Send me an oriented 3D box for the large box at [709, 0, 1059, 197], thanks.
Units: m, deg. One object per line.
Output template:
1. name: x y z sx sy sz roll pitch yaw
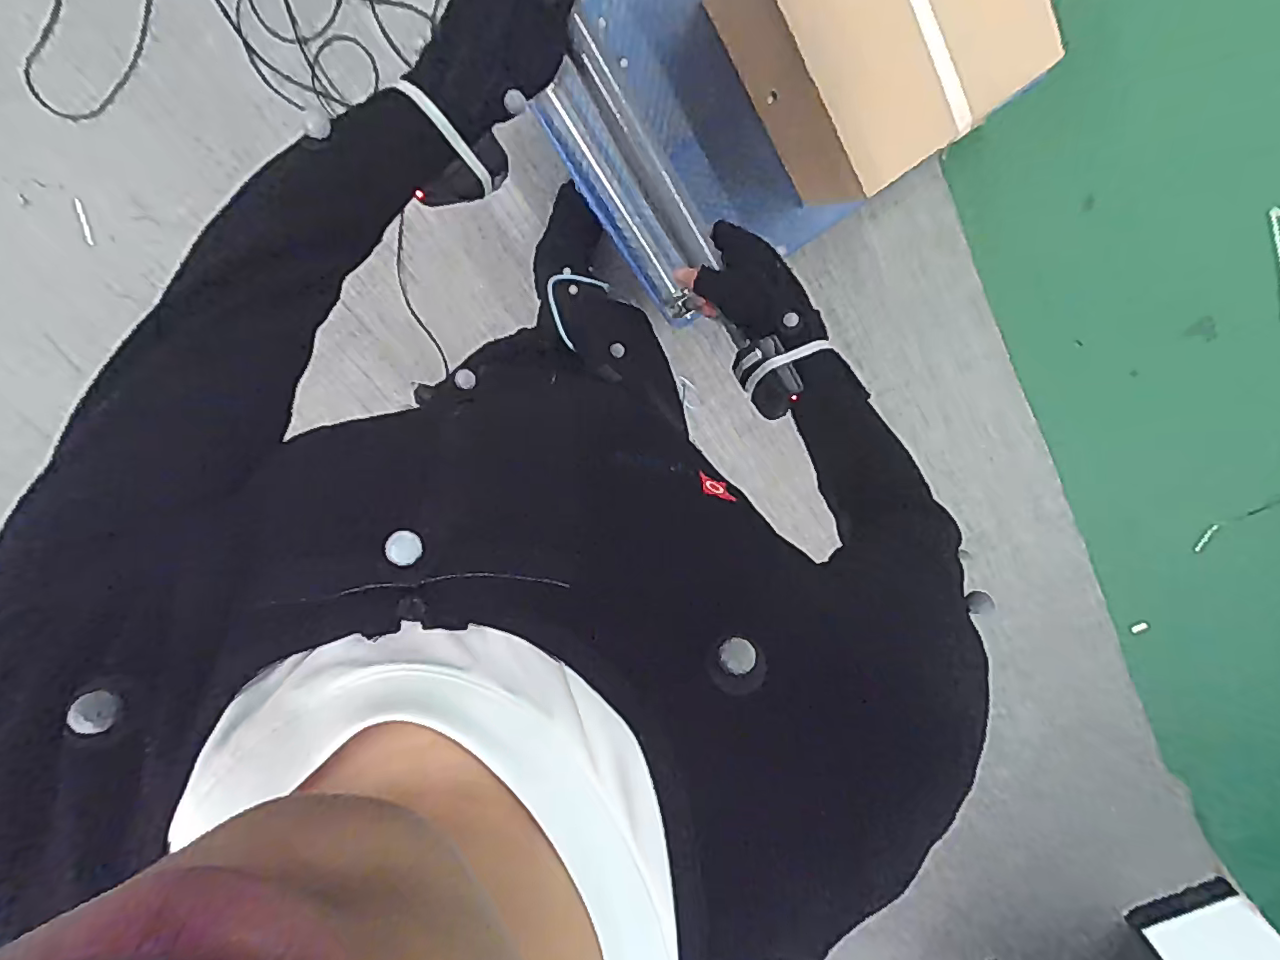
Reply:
1. large box: 0.357 -0.735 0.866 0.320 0.320 0.408 -33 112 12
